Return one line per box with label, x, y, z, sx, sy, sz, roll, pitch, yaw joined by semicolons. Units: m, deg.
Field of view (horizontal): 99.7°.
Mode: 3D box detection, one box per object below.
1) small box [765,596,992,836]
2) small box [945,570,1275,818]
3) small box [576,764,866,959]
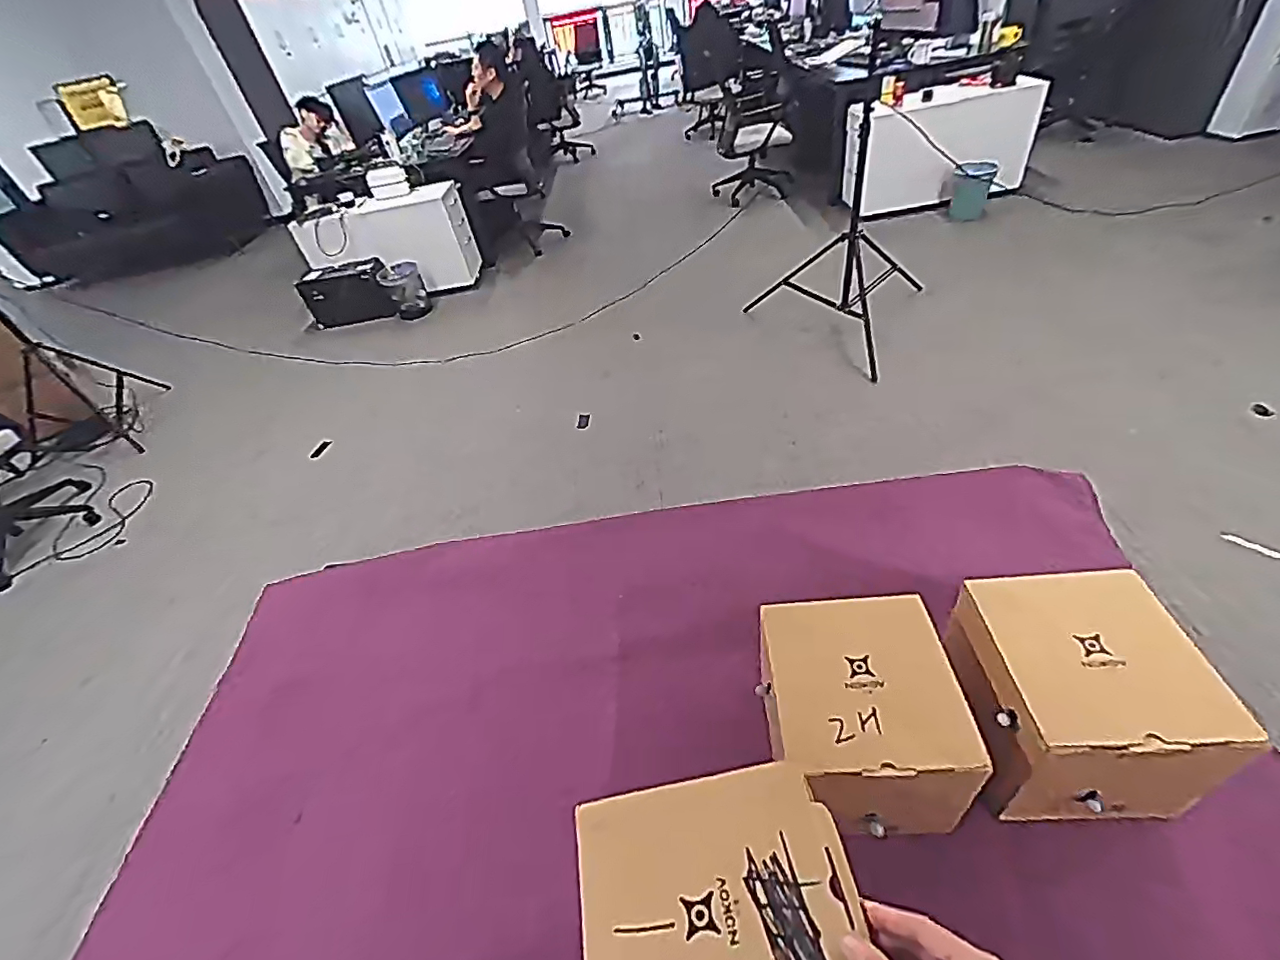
small box;0.222;0.245;0.563;0.168;0.176;0.179;-6;42;8
small box;0.430;0.215;0.544;0.168;0.176;0.179;-6;41;8
small box;0.058;0.343;0.407;0.179;0.176;0.168;-12;42;-1
